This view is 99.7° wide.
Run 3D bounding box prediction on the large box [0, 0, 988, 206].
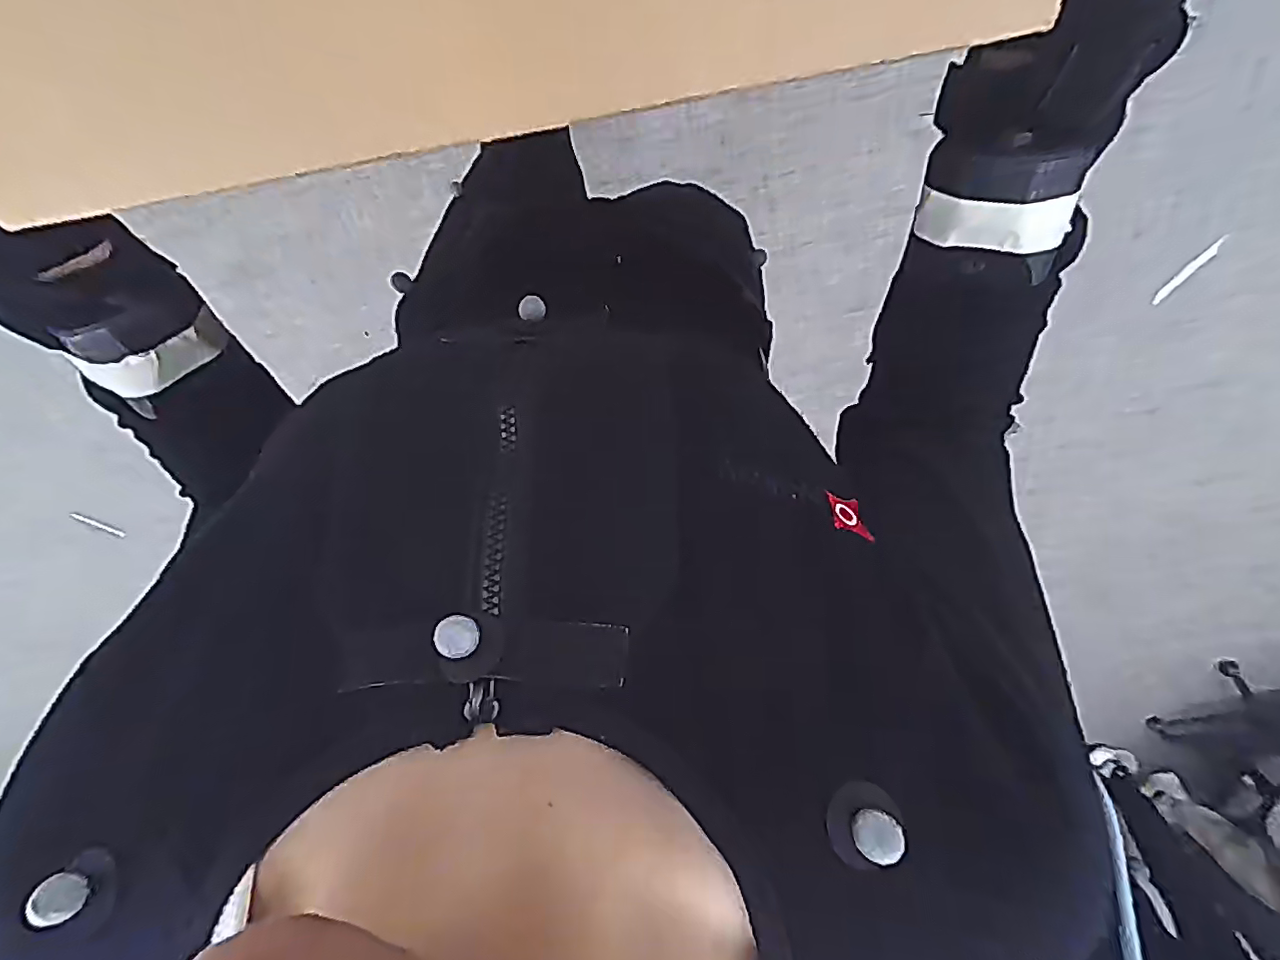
[{"bbox_3d":[-0.088,-0.353,0.222,0.408,0.320,0.320,-8,132,5],"label":"large box"}]
